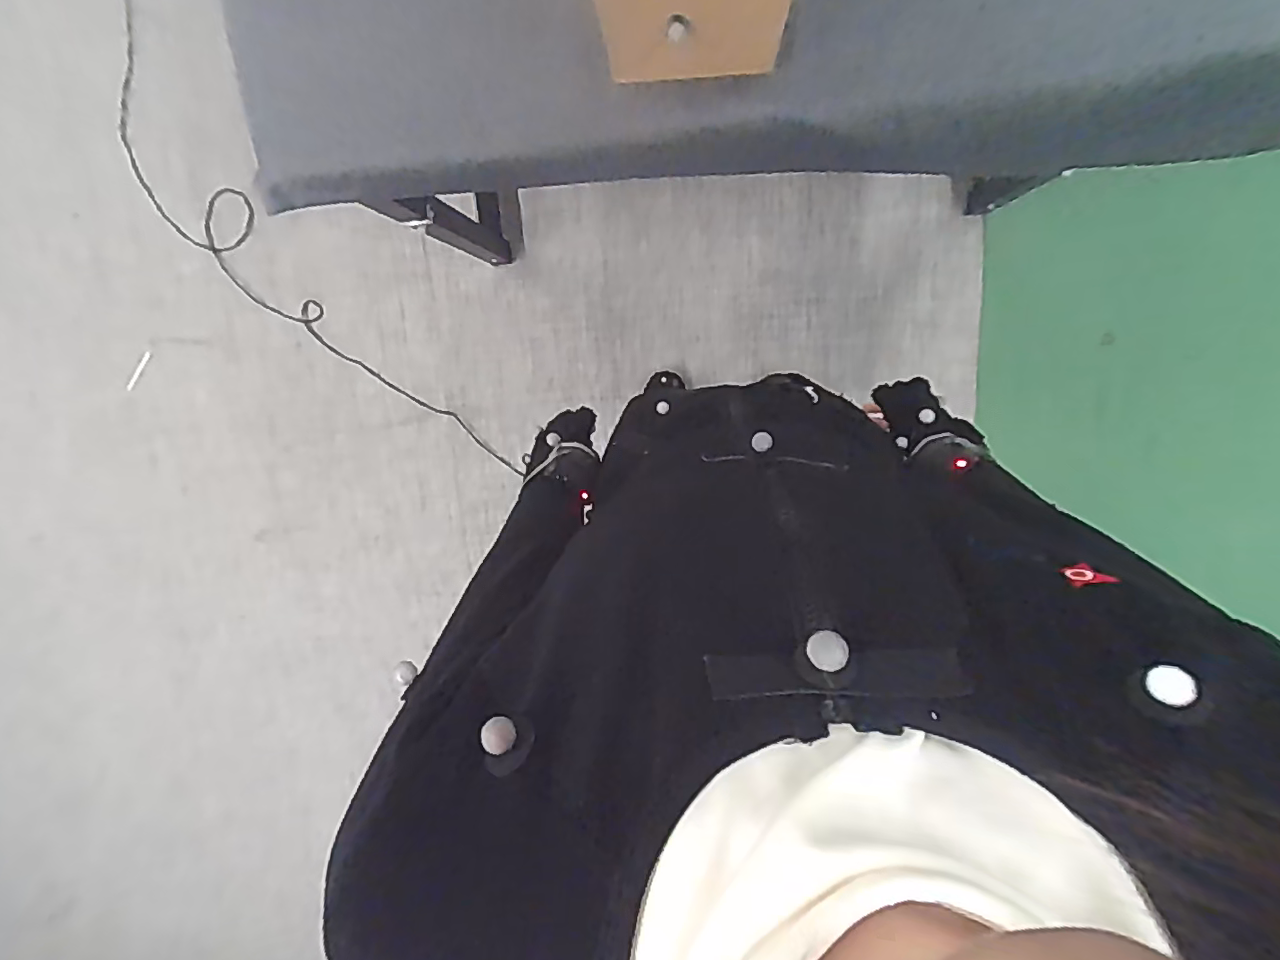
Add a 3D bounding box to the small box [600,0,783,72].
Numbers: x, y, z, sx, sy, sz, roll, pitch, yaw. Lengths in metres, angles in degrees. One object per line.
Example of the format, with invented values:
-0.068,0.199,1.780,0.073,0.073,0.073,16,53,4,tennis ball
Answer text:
0.047,-0.510,0.497,0.179,0.176,0.168,0,102,5,small box
